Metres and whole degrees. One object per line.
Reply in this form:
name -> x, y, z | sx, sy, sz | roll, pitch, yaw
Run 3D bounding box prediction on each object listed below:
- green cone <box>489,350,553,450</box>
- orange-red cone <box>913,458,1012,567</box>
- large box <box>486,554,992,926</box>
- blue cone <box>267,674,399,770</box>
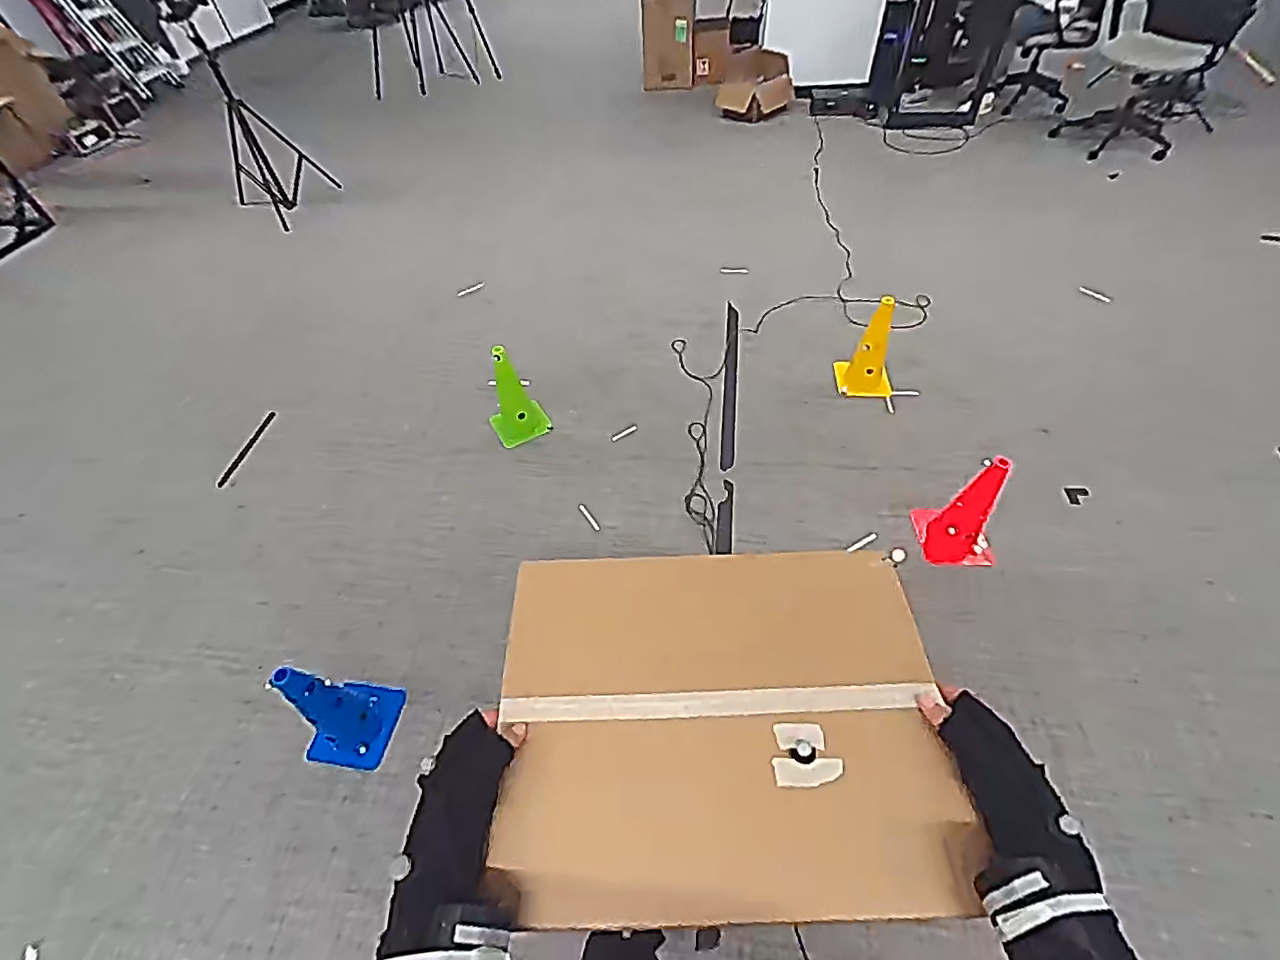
green cone -> -0.473, -0.321, 1.961 | 0.202, 0.368, 0.200 | -28, 53, -15
orange-red cone -> 0.952, 0.068, 1.536 | 0.198, 0.360, 0.199 | 2, 49, 5
large box -> 0.073, 0.303, 0.624 | 0.408, 0.320, 0.320 | -2, 52, 0
blue cone -> -0.754, 0.548, 1.292 | 0.192, 0.380, 0.193 | 5, 51, 10
